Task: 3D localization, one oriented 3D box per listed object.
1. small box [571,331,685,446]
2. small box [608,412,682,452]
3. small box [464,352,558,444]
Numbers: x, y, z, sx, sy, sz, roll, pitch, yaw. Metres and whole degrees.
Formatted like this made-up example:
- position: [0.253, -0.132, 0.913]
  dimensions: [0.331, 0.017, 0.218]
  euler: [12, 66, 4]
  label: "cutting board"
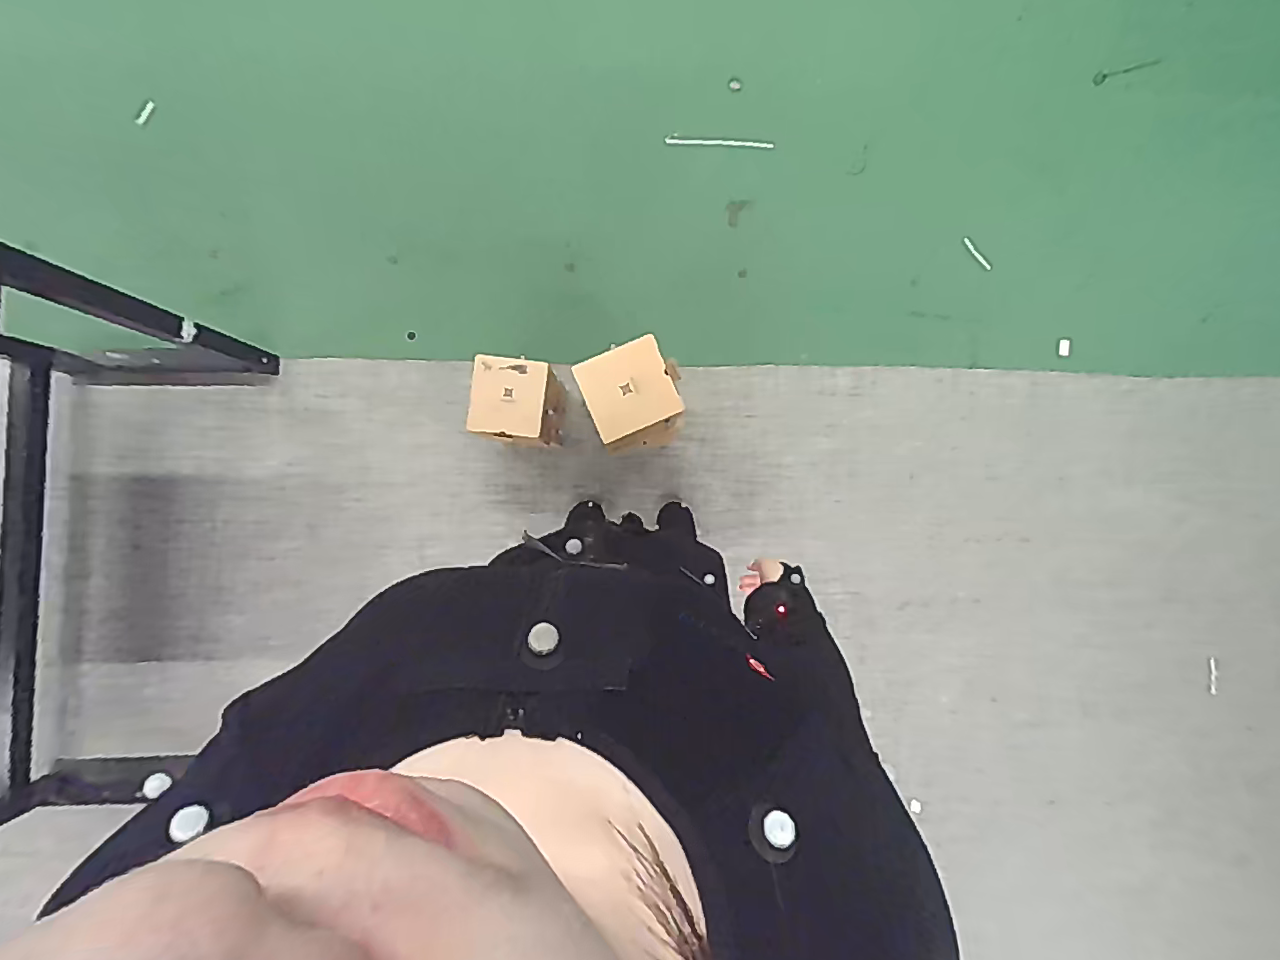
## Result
- position: [-0.025, -0.177, 1.108]
  dimensions: [0.179, 0.176, 0.168]
  euler: [-24, 91, -3]
  label: "small box"
- position: [-0.014, -0.169, 1.271]
  dimensions: [0.179, 0.176, 0.168]
  euler: [-19, 91, -3]
  label: "small box"
- position: [-0.293, -0.183, 1.260]
  dimensions: [0.168, 0.176, 0.179]
  euler: [8, 88, 0]
  label: "small box"
